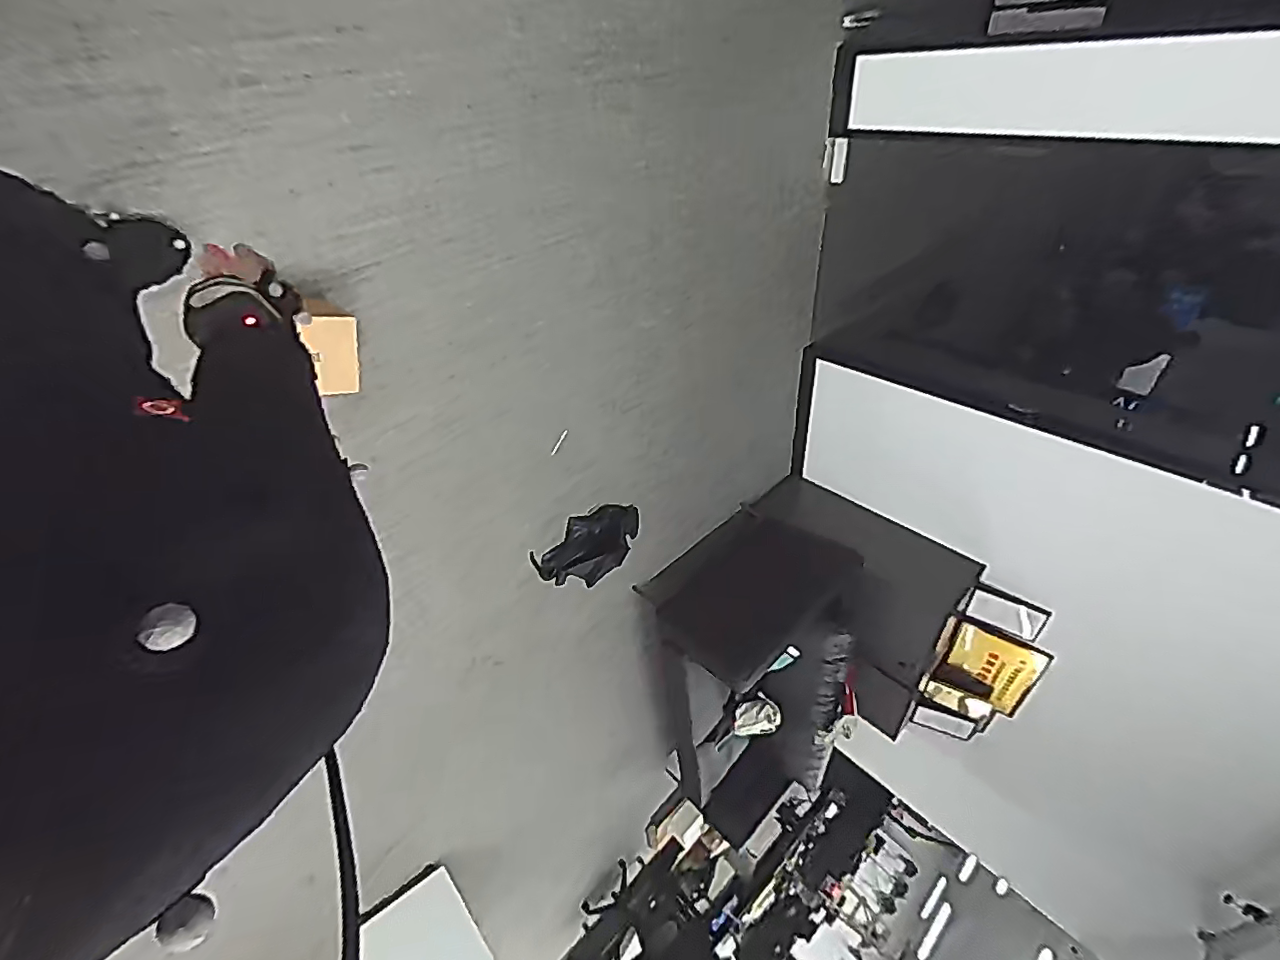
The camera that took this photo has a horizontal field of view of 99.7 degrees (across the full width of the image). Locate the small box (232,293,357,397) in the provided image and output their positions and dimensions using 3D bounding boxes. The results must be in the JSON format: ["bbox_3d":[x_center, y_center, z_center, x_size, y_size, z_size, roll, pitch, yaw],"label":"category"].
[{"bbox_3d":[-0.715,-0.285,1.125,0.179,0.176,0.168,-15,126,-42],"label":"small box"}]
